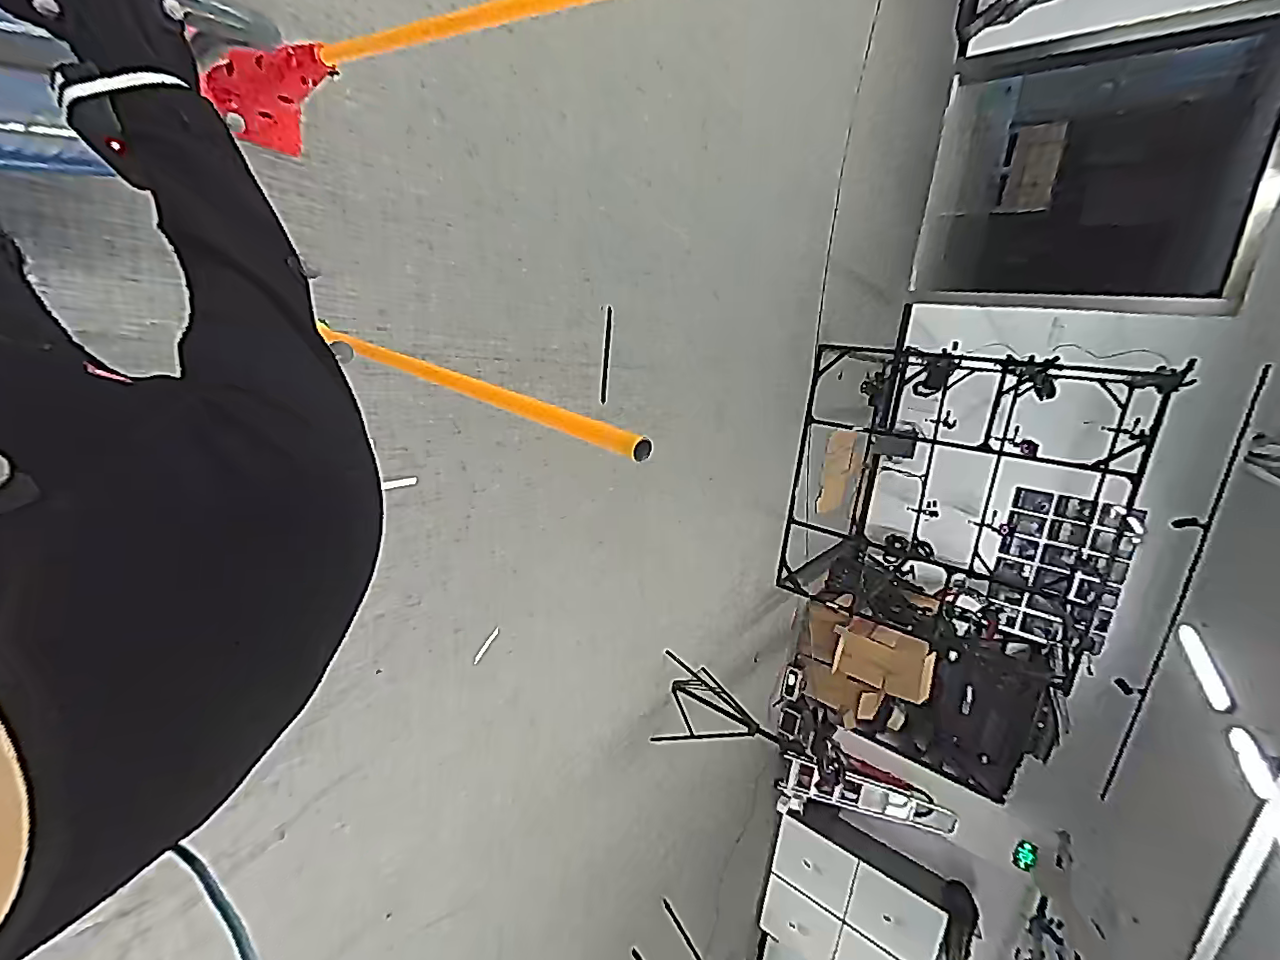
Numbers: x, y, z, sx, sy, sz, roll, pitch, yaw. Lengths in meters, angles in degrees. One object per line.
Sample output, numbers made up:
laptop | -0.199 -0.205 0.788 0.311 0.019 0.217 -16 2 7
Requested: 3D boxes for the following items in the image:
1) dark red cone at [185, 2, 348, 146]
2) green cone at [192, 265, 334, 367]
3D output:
dark red cone | -0.678 -0.794 1.031 0.201 0.394 0.202 -13 114 -54
green cone | -0.759 -0.327 1.137 0.202 0.368 0.200 -6 108 -55
